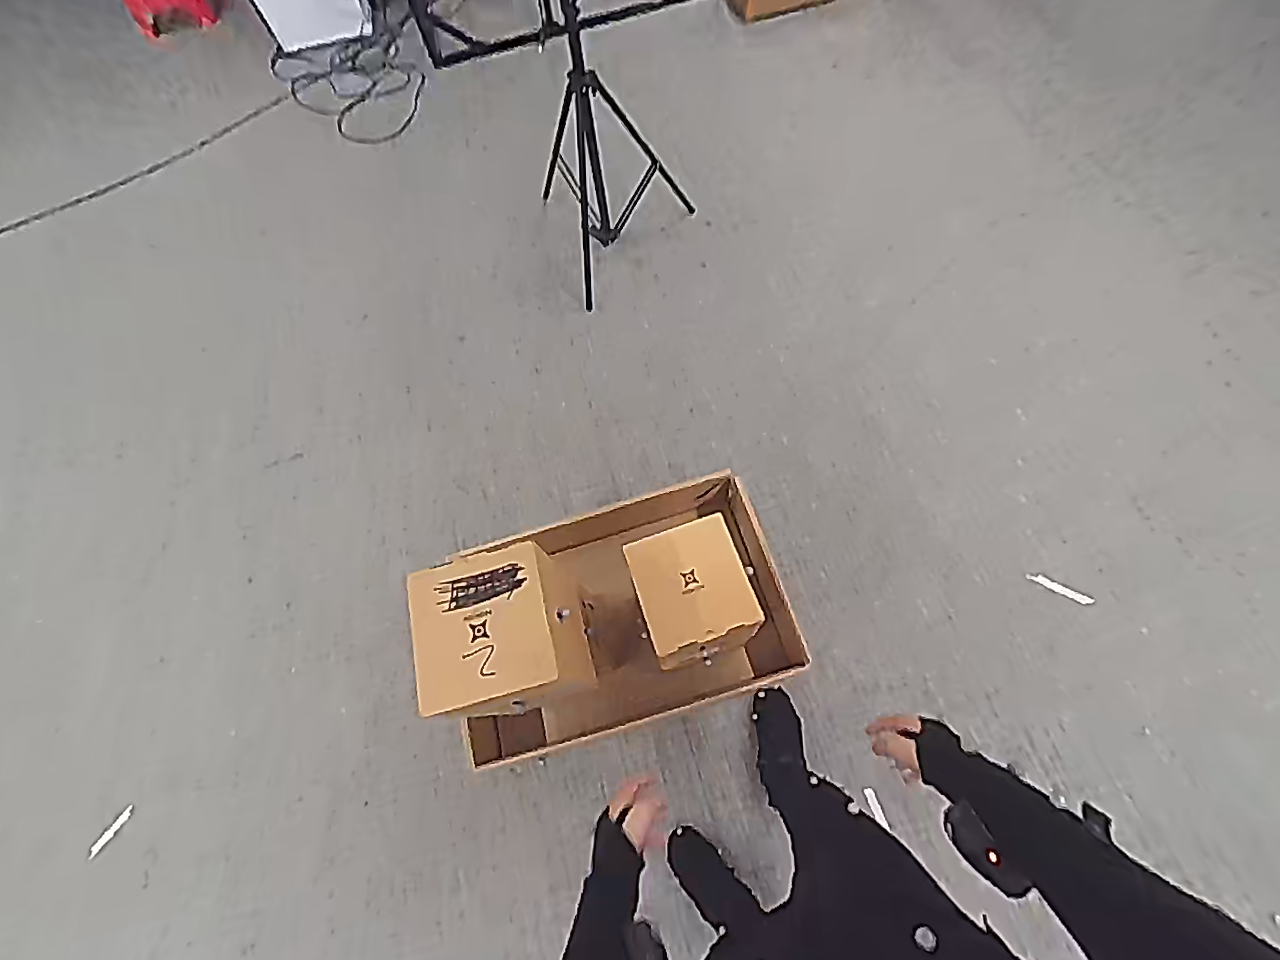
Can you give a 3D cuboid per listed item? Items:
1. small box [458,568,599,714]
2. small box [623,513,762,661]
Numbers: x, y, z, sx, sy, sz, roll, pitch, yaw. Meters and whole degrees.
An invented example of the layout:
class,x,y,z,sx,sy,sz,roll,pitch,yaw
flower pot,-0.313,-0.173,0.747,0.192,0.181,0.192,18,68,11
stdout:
class,x,y,z,sx,sy,sz,roll,pitch,yaw
small box,-0.175,0.266,0.873,0.168,0.176,0.179,-17,65,0
small box,0.081,0.181,0.883,0.168,0.176,0.179,-19,67,-2
